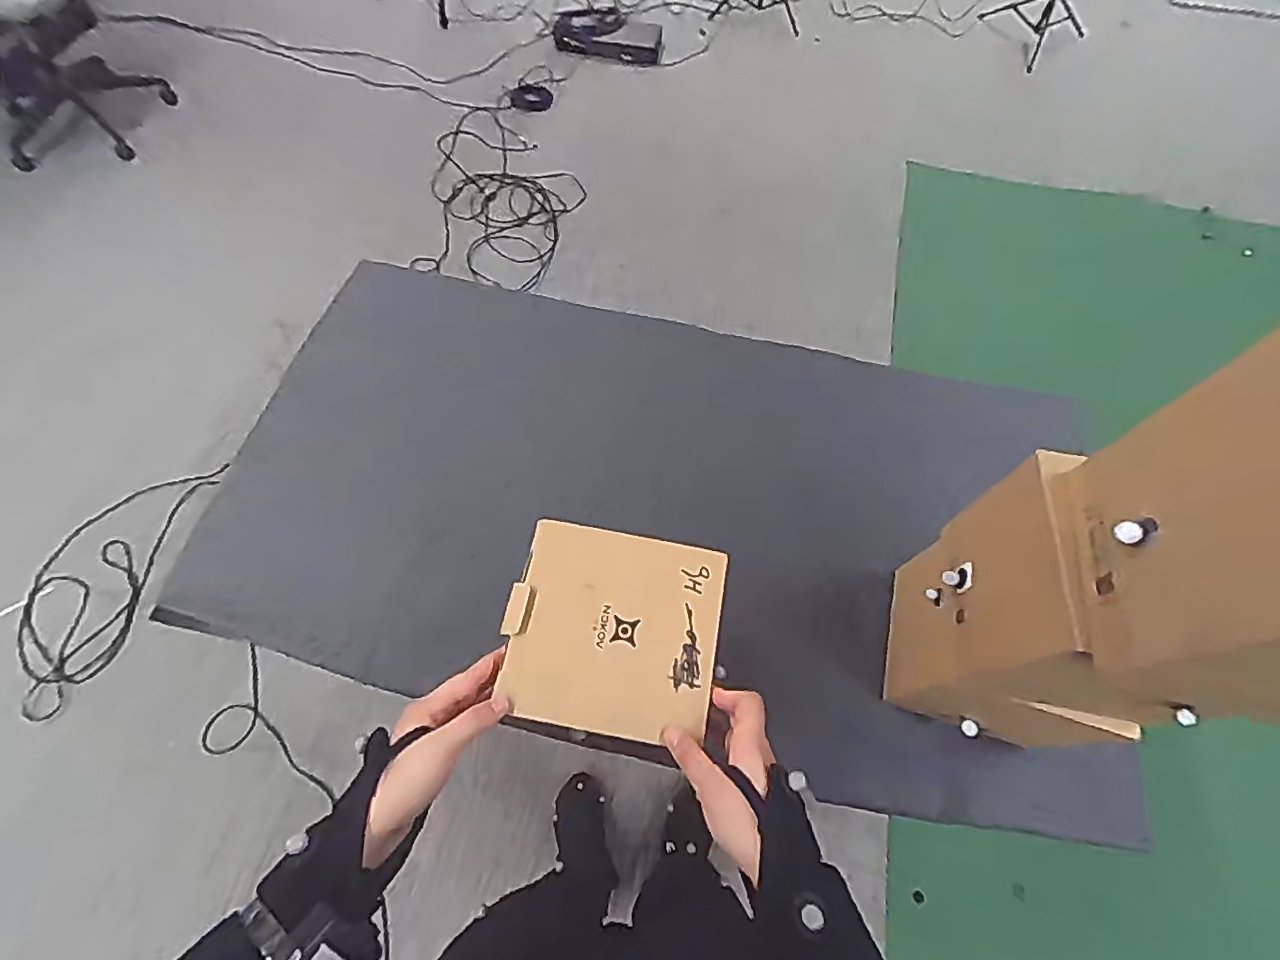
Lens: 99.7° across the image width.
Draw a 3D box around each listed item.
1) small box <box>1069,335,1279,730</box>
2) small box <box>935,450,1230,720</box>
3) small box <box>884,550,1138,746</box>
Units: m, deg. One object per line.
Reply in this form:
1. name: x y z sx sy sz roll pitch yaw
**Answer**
1. small box: 0.395 0.041 0.302 0.179 0.176 0.168 14 61 6
2. small box: 0.384 0.098 0.459 0.179 0.176 0.168 9 61 5
3. small box: 0.391 0.176 0.601 0.168 0.176 0.179 16 63 8
